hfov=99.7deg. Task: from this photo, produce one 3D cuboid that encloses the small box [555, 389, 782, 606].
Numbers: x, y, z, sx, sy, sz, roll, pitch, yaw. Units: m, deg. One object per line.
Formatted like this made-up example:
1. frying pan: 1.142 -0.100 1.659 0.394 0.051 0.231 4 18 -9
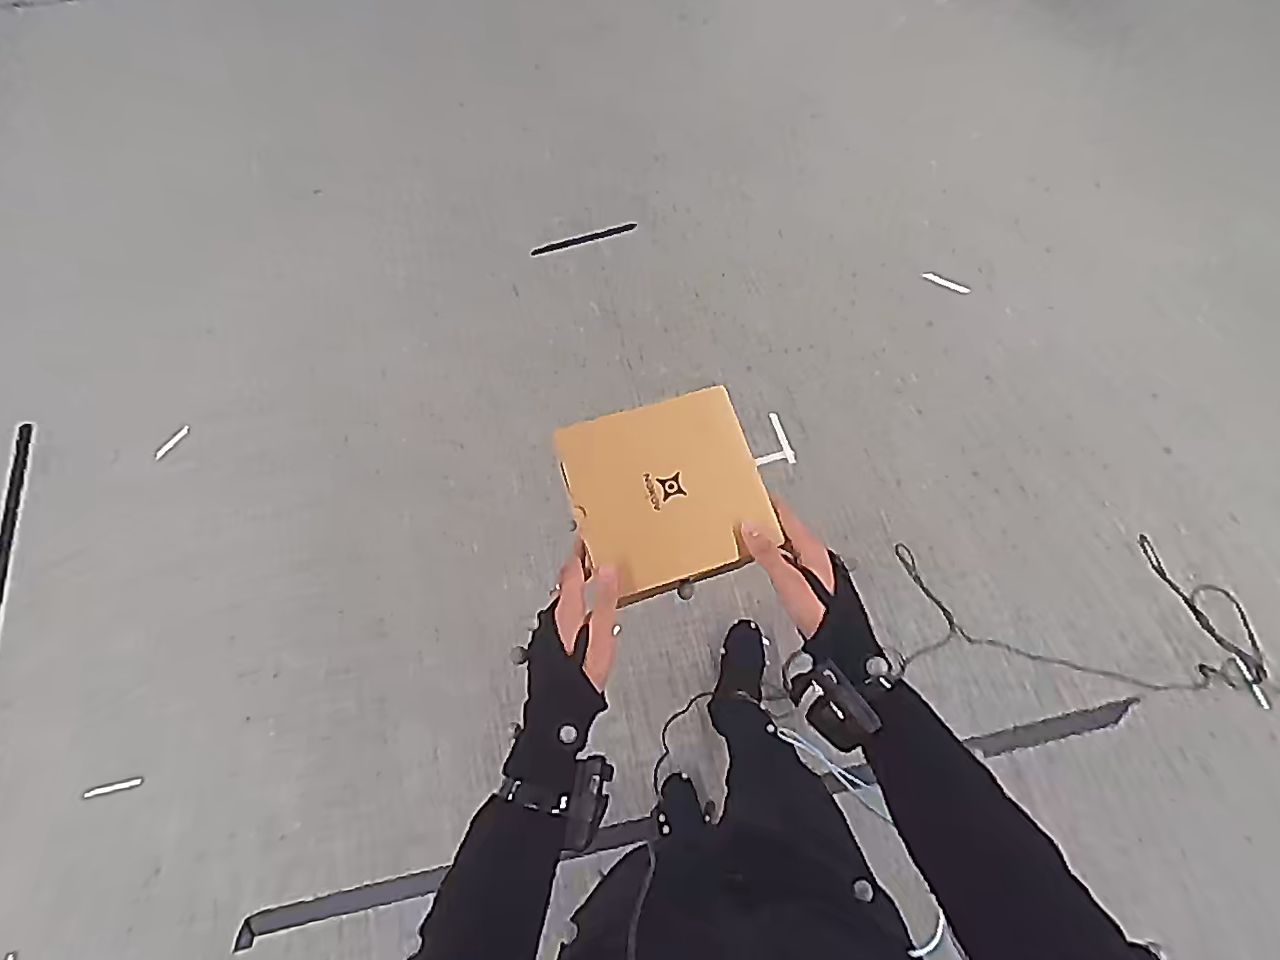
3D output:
1. small box: 0.021 0.028 0.575 0.179 0.176 0.168 -17 76 -7
